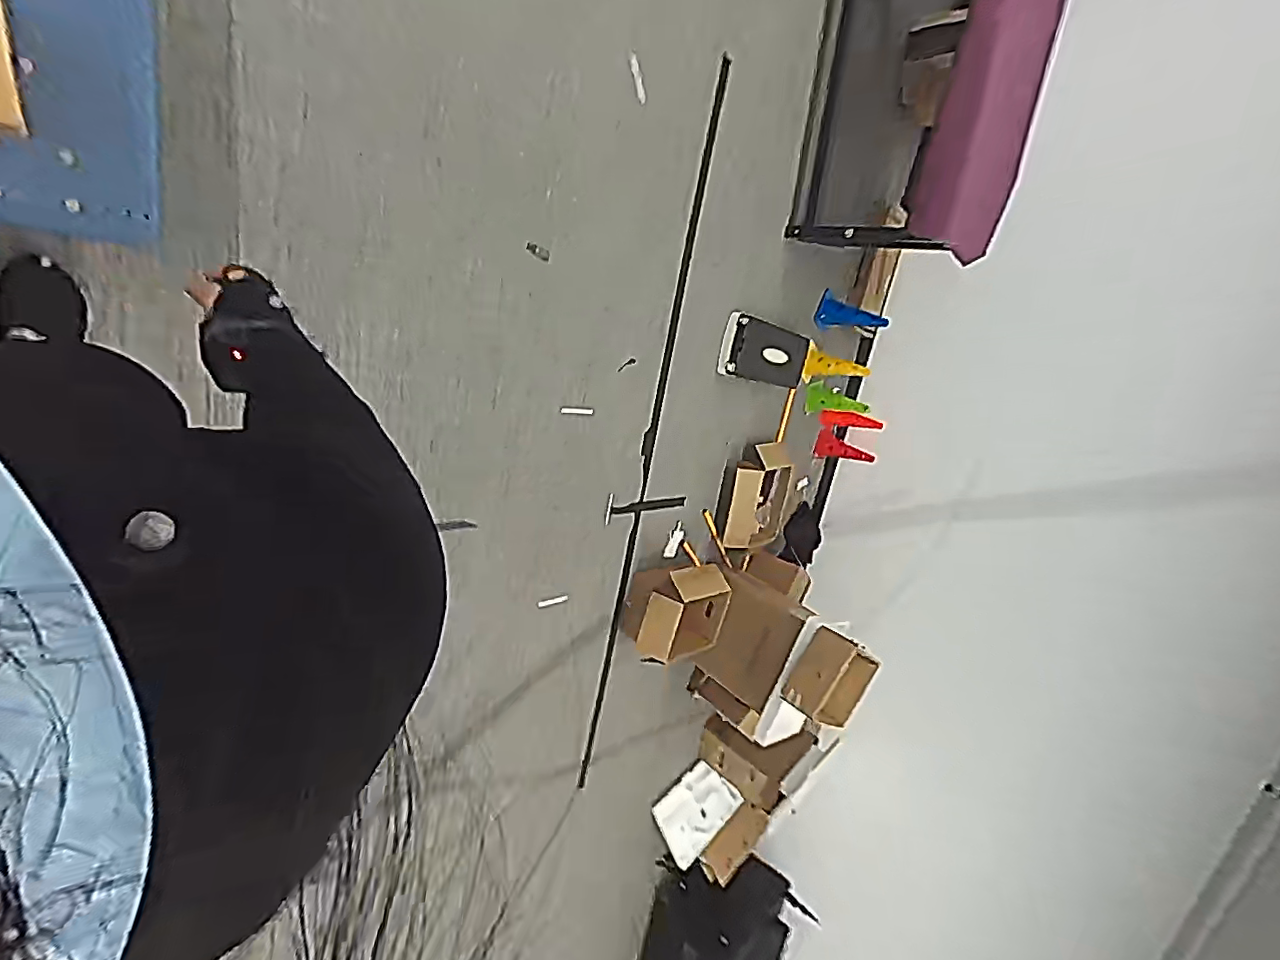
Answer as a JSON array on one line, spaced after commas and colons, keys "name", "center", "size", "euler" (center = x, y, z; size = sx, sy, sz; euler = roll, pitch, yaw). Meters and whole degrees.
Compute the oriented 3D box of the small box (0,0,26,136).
[{"name": "small box", "center": [-0.891, -0.549, 0.661], "size": [0.168, 0.176, 0.179], "euler": [-10, 116, -46]}]
